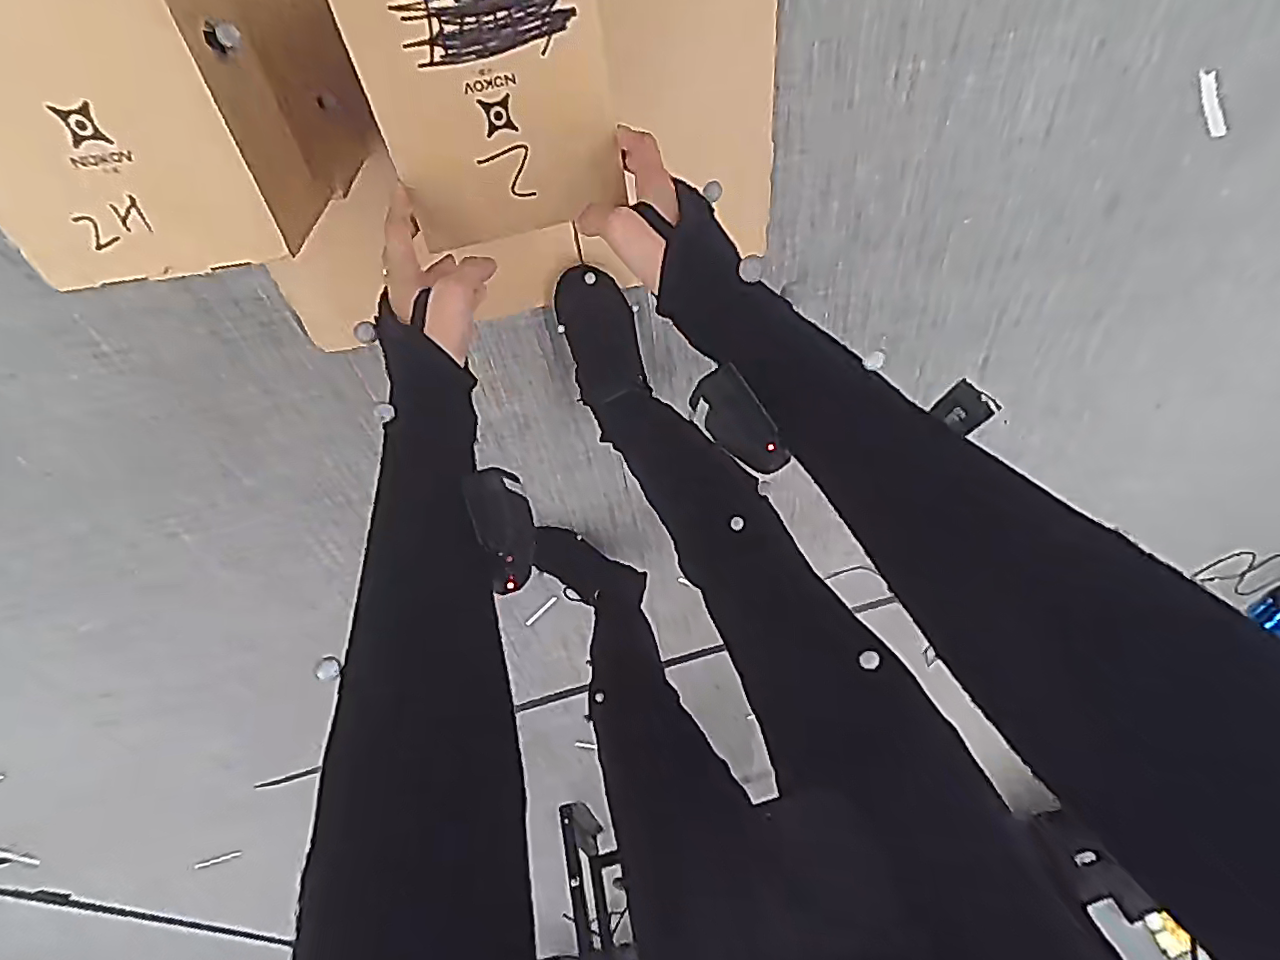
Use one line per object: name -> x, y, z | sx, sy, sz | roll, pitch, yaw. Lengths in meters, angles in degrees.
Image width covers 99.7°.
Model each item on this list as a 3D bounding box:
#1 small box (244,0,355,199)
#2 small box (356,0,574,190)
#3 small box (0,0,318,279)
small box -> -0.395, -0.377, 0.513 | 0.168, 0.176, 0.179 | -13, 135, -7
small box -> -0.172, -0.419, 0.550 | 0.168, 0.176, 0.179 | -12, 133, -8
small box -> -0.366, -0.272, 0.389 | 0.168, 0.176, 0.179 | -12, 134, -7
